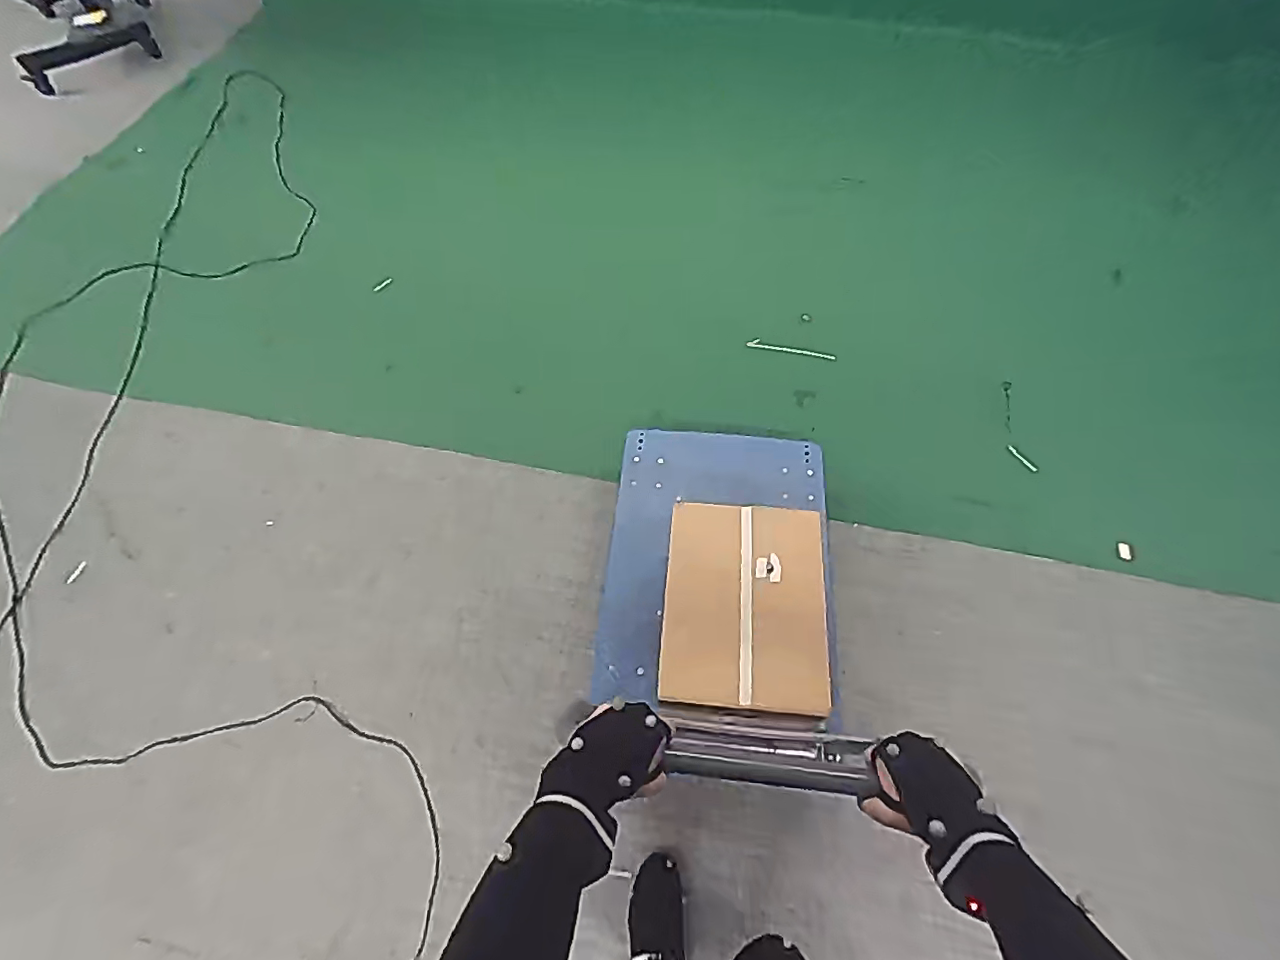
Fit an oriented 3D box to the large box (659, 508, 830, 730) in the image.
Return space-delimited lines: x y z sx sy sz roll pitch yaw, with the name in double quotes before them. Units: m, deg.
"large box" 0.209 0.316 1.200 0.320 0.320 0.408 4 61 4
